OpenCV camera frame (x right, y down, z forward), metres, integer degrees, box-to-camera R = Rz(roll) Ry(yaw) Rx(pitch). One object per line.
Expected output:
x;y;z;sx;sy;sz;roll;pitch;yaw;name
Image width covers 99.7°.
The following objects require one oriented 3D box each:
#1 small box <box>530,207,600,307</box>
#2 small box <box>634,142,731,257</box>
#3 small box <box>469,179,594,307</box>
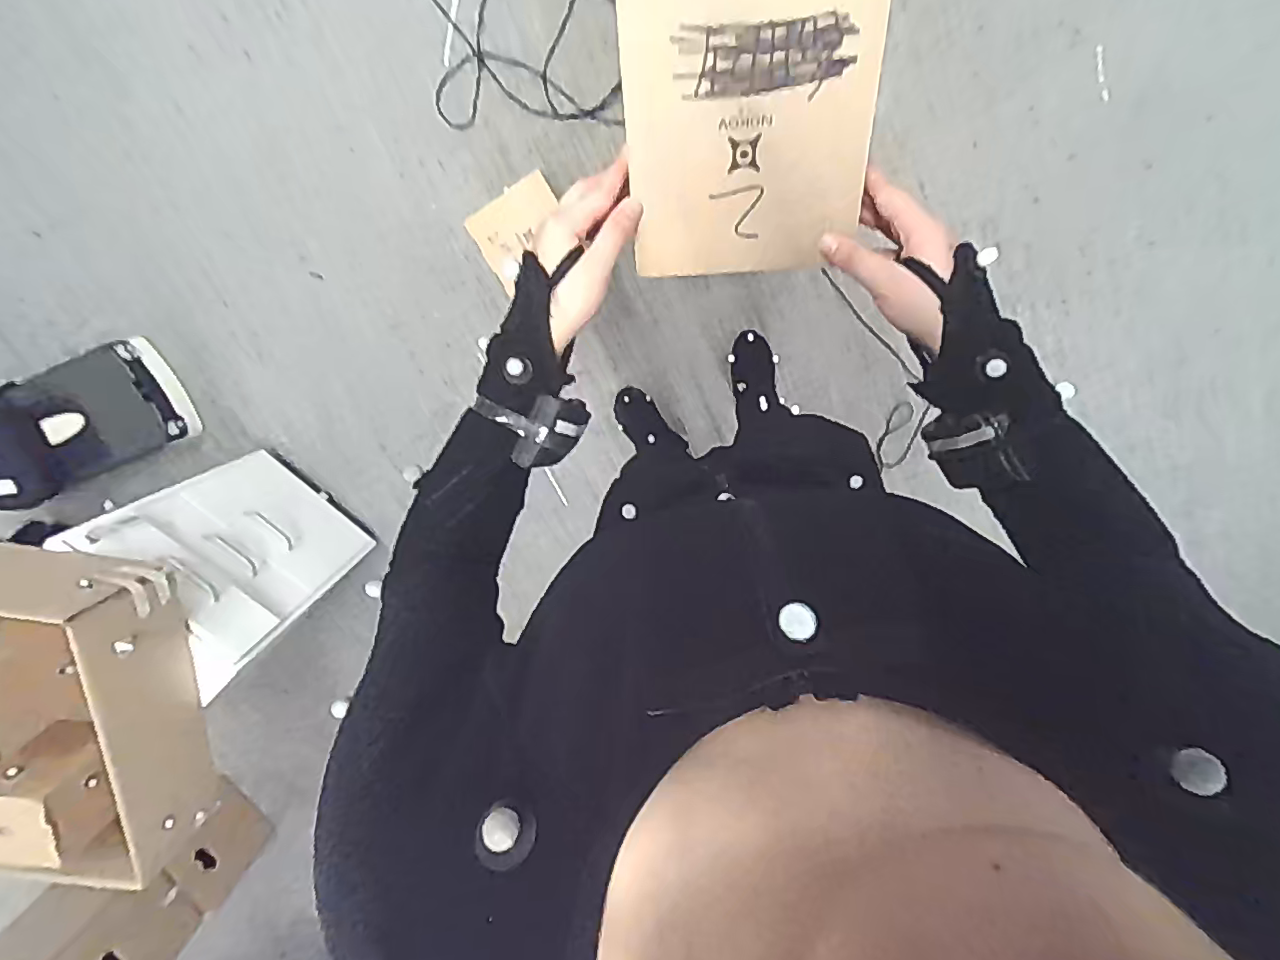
-0.205;-0.521;1.252;0.179;0.176;0.168;-27;107;12;small box
0.095;-0.612;1.205;0.168;0.176;0.179;-19;107;9;small box
-0.206;-0.472;1.094;0.179;0.176;0.168;-28;106;13;small box
